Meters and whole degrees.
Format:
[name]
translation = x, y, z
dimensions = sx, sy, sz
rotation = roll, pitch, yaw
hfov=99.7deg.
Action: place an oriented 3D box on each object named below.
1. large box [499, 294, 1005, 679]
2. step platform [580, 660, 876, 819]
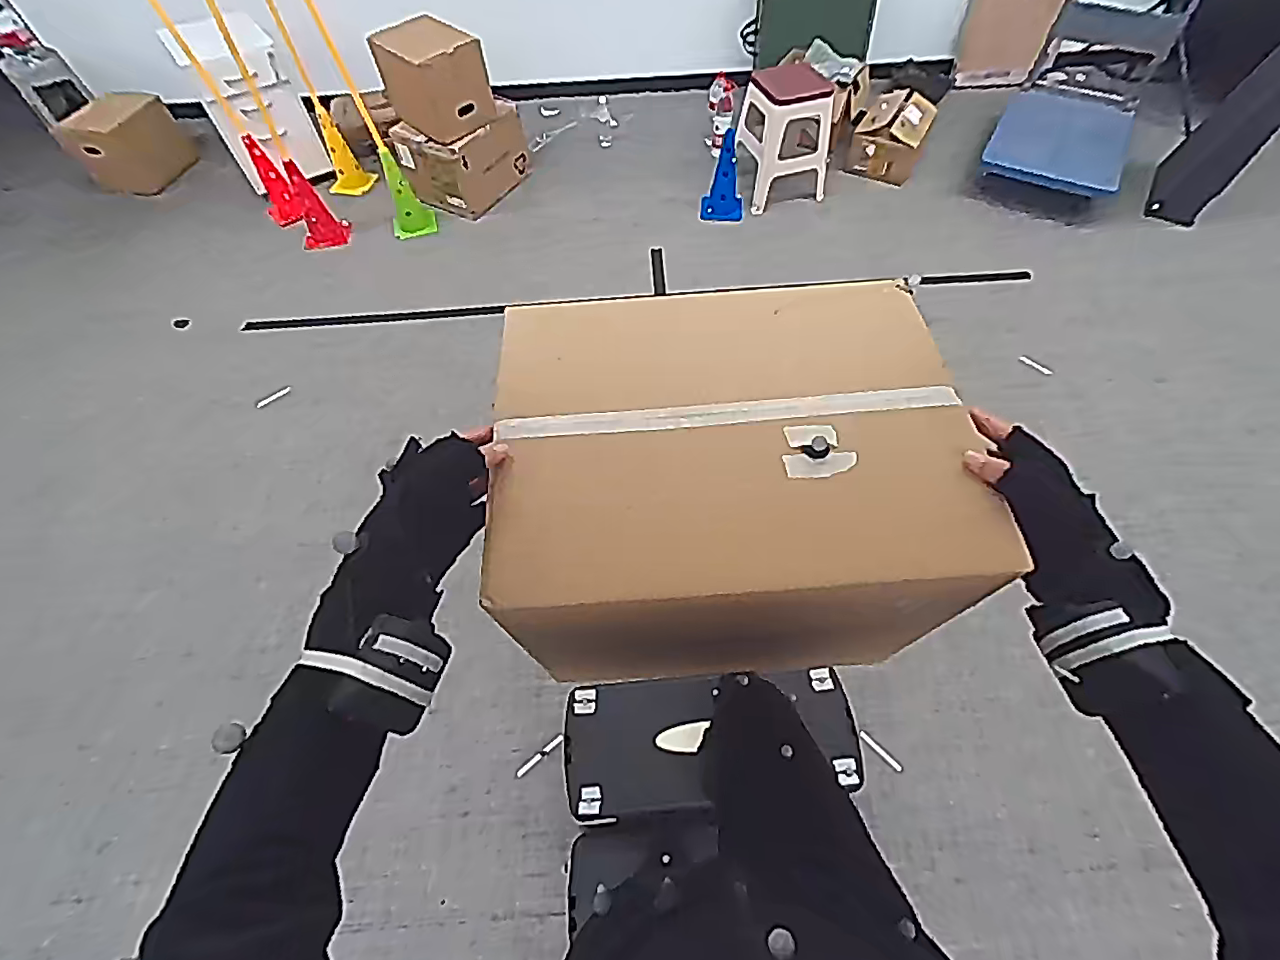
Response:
[large box]
translation = 0.080, 0.026, 0.617
dimensions = 0.408, 0.320, 0.320
rotation = -4, 60, 0
[step platform]
translation = 0.197, 0.623, 1.312
dimensions = 0.684, 0.204, 0.286
rotation = -5, 57, -2
